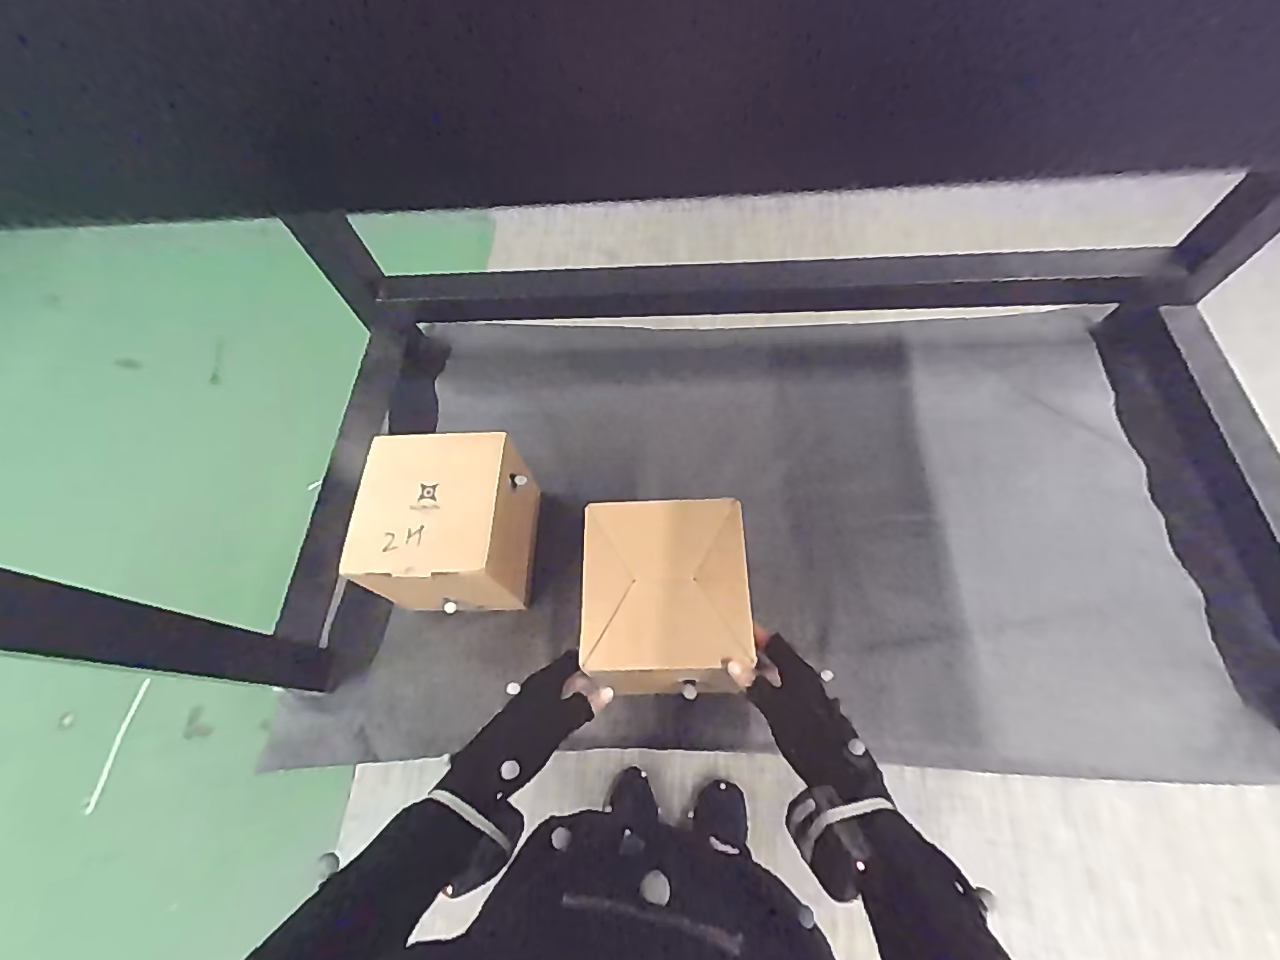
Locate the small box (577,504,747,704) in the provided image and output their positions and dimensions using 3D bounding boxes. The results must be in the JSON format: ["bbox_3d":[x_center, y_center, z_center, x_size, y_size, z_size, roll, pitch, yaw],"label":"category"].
[{"bbox_3d":[0.025,0.145,0.608,0.168,0.176,0.179,-2,60,3],"label":"small box"}]

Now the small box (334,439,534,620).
[{"bbox_3d":[-0.238,0.066,0.679,0.168,0.176,0.179,-1,62,5],"label":"small box"}]
